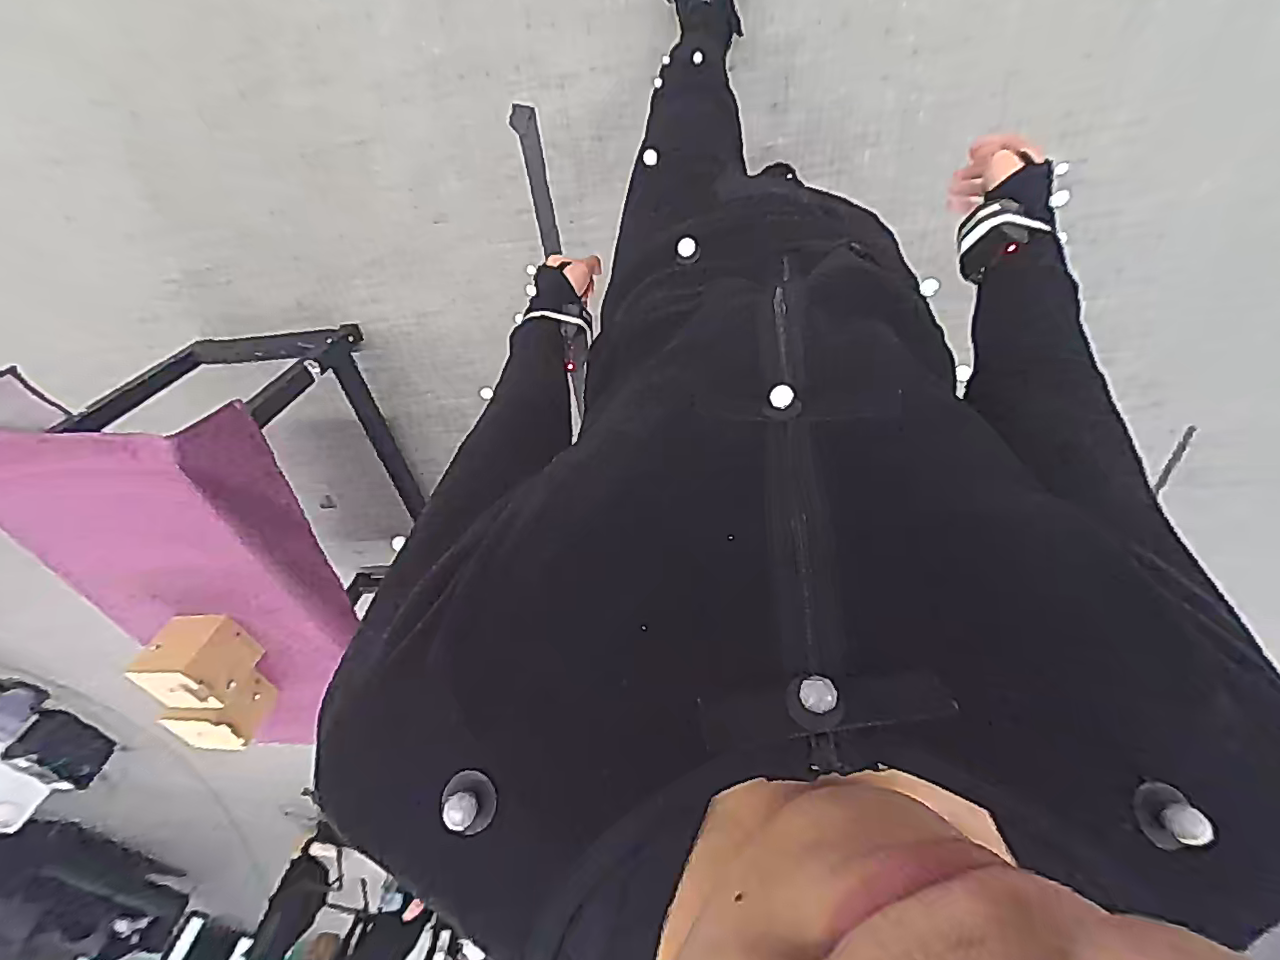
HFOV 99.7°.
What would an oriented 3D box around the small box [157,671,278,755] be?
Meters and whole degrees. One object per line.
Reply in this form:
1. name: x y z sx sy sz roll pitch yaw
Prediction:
1. small box: -1.197 0.664 1.549 0.179 0.176 0.168 -4 129 10
